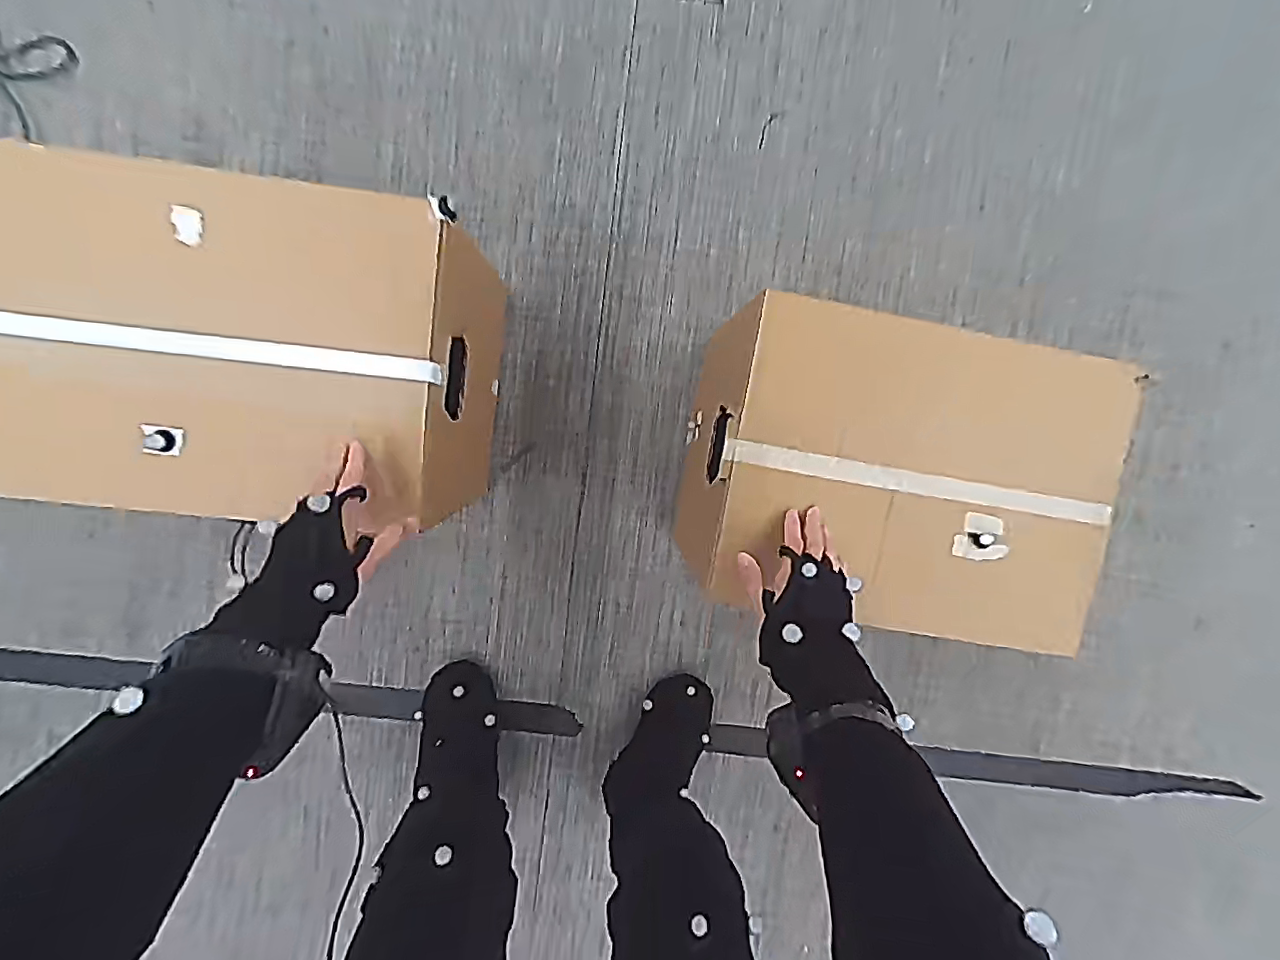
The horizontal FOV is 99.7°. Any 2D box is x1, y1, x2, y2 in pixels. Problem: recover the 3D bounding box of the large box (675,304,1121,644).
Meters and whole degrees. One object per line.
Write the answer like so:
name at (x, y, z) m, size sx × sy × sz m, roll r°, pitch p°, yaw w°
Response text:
large box at (0.282, -0.010, 0.715) m, size 0.408 × 0.320 × 0.320 m, roll 10°, pitch 95°, yaw -5°
